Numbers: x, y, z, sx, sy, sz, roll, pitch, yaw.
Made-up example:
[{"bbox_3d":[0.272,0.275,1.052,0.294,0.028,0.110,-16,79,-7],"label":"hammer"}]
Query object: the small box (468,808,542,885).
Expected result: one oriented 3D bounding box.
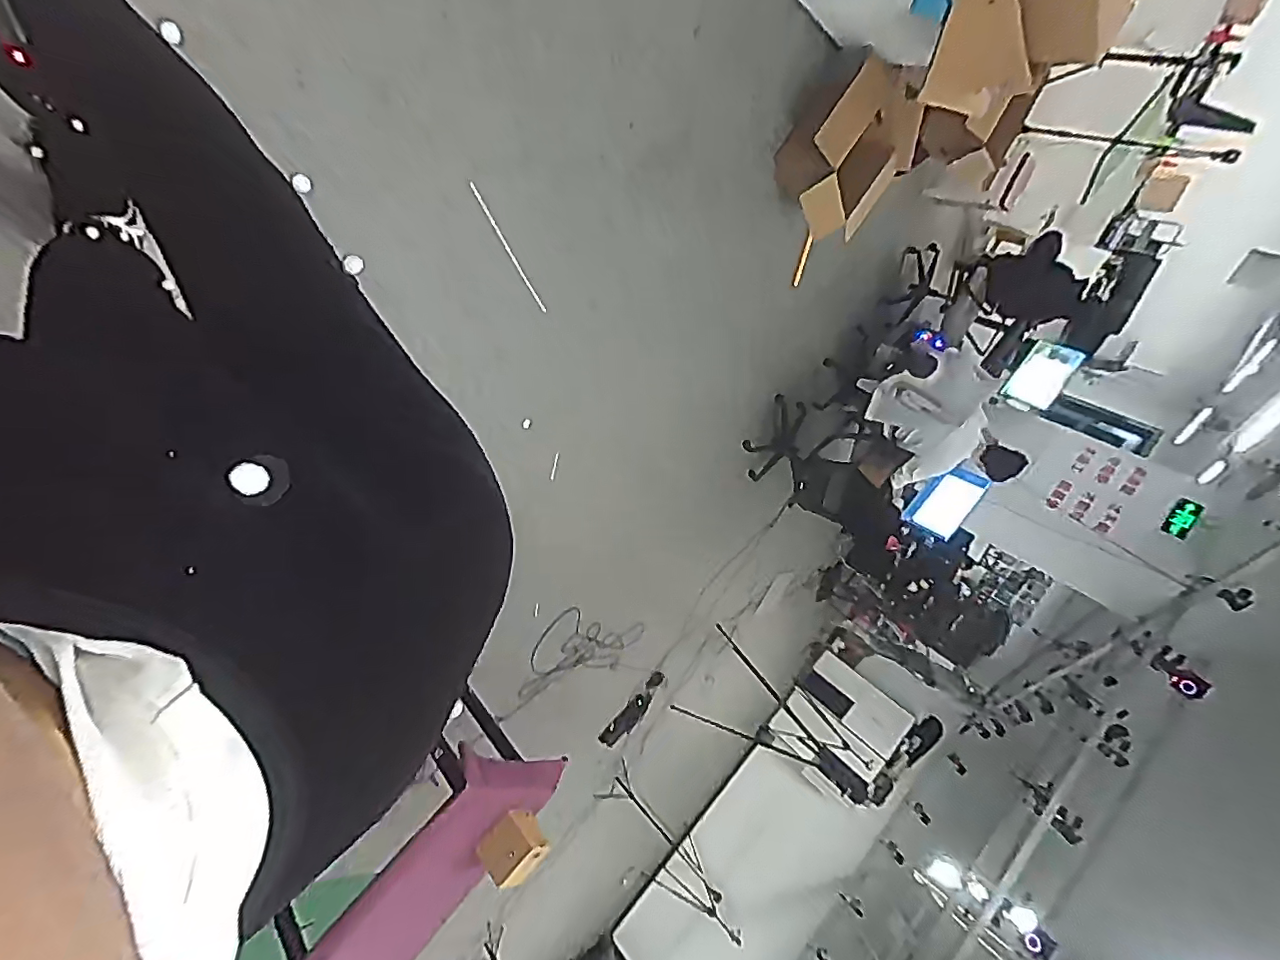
[{"bbox_3d":[-0.506,1.360,2.023,0.179,0.176,0.168,-46,147,-11],"label":"small box"}]
